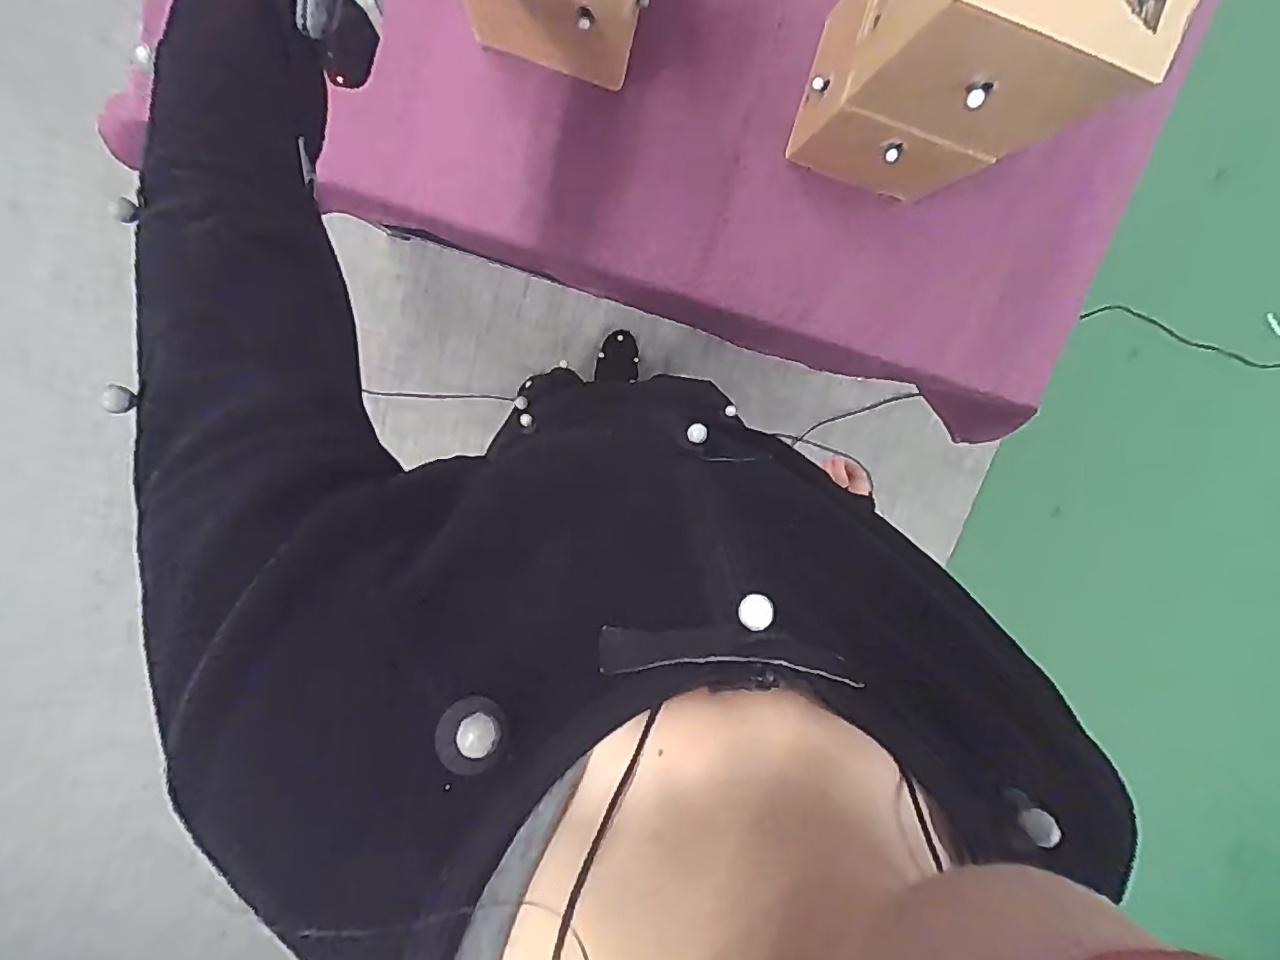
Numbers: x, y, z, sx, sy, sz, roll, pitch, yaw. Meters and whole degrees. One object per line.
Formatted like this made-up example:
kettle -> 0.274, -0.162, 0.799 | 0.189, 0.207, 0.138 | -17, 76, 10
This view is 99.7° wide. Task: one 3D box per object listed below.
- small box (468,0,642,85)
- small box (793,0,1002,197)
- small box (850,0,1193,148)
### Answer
small box -> -0.079, -0.543, 0.544 | 0.179, 0.176, 0.168 | 13, 102, -9
small box -> 0.295, -0.441, 0.601 | 0.179, 0.176, 0.168 | 14, 103, -9
small box -> 0.309, -0.403, 0.442 | 0.179, 0.176, 0.168 | 14, 103, -7
